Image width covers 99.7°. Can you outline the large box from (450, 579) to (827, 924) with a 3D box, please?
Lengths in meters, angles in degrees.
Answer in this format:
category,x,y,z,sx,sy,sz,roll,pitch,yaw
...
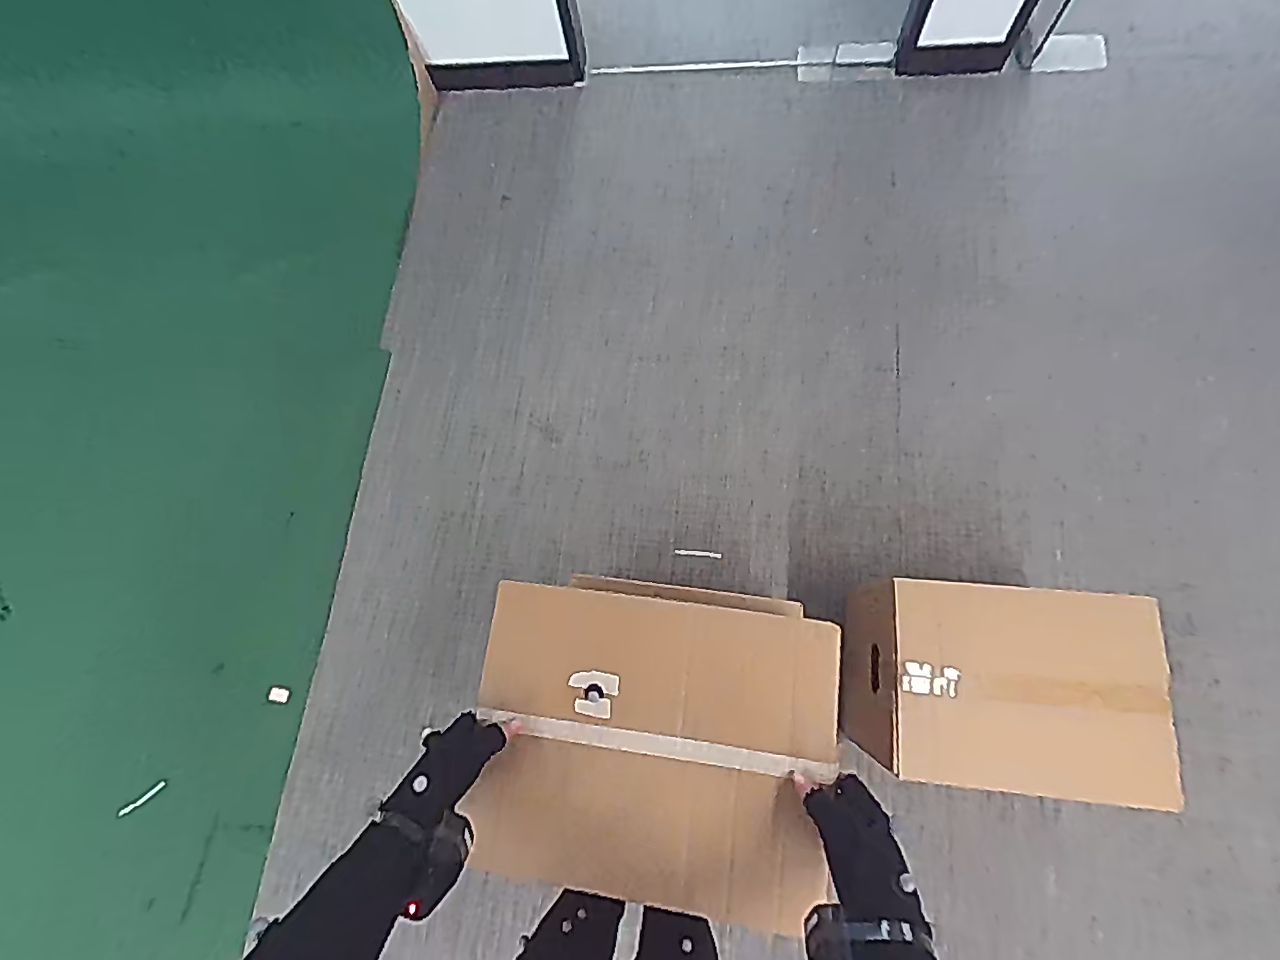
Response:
category,x,y,z,sx,sy,sz,roll,pitch,yaw
large box,0.019,0.317,0.748,0.408,0.320,0.320,6,78,9
